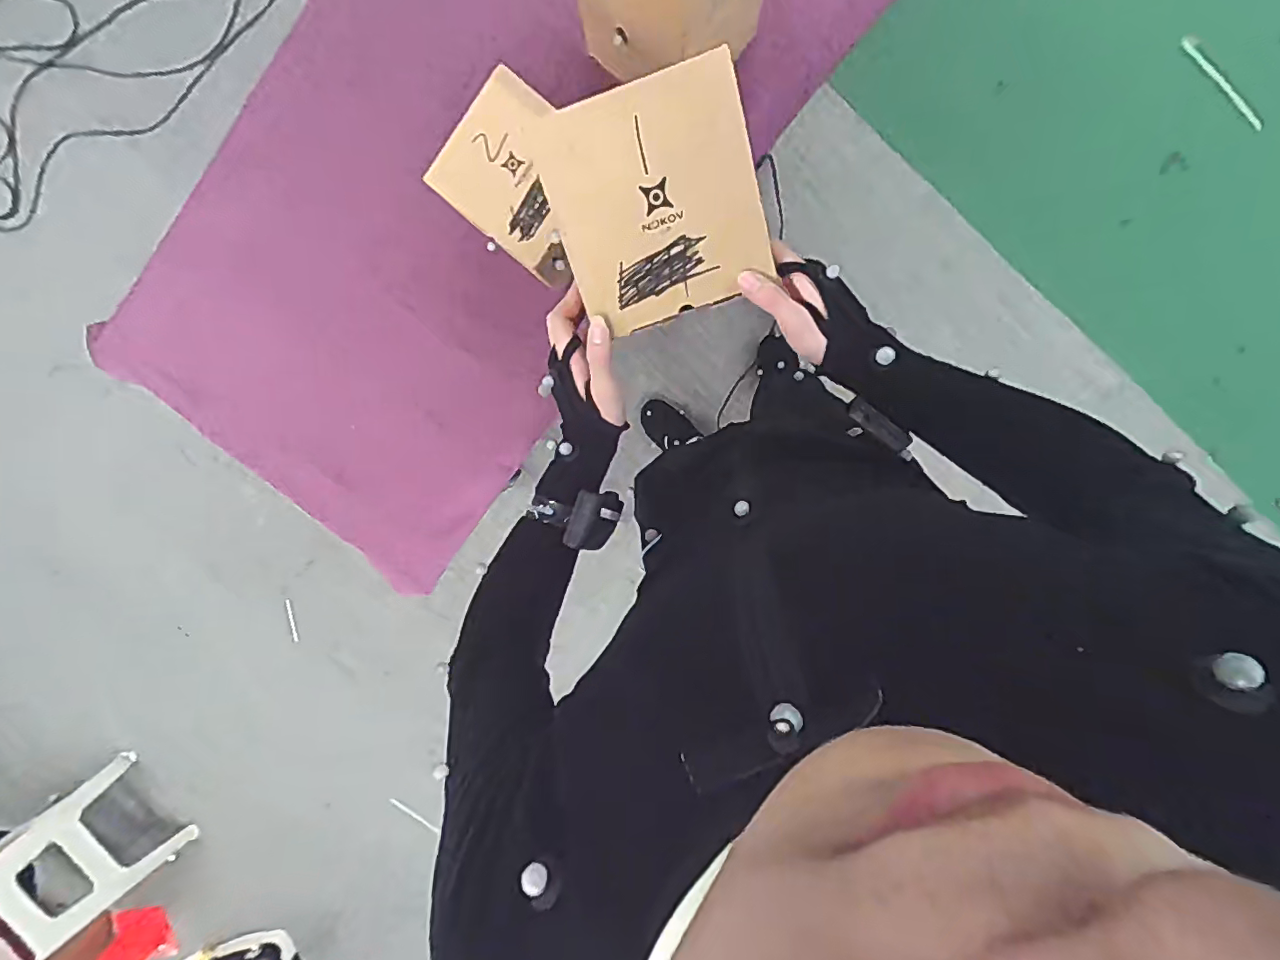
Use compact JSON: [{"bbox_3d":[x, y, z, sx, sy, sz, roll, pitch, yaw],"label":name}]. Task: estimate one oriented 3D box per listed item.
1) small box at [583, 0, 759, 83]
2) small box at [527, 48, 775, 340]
[{"bbox_3d":[0.037,-0.611,0.691,0.179,0.176,0.168,39,99,-4],"label":"small box"},{"bbox_3d":[0.012,-0.253,0.508,0.168,0.176,0.179,-17,114,4],"label":"small box"}]
